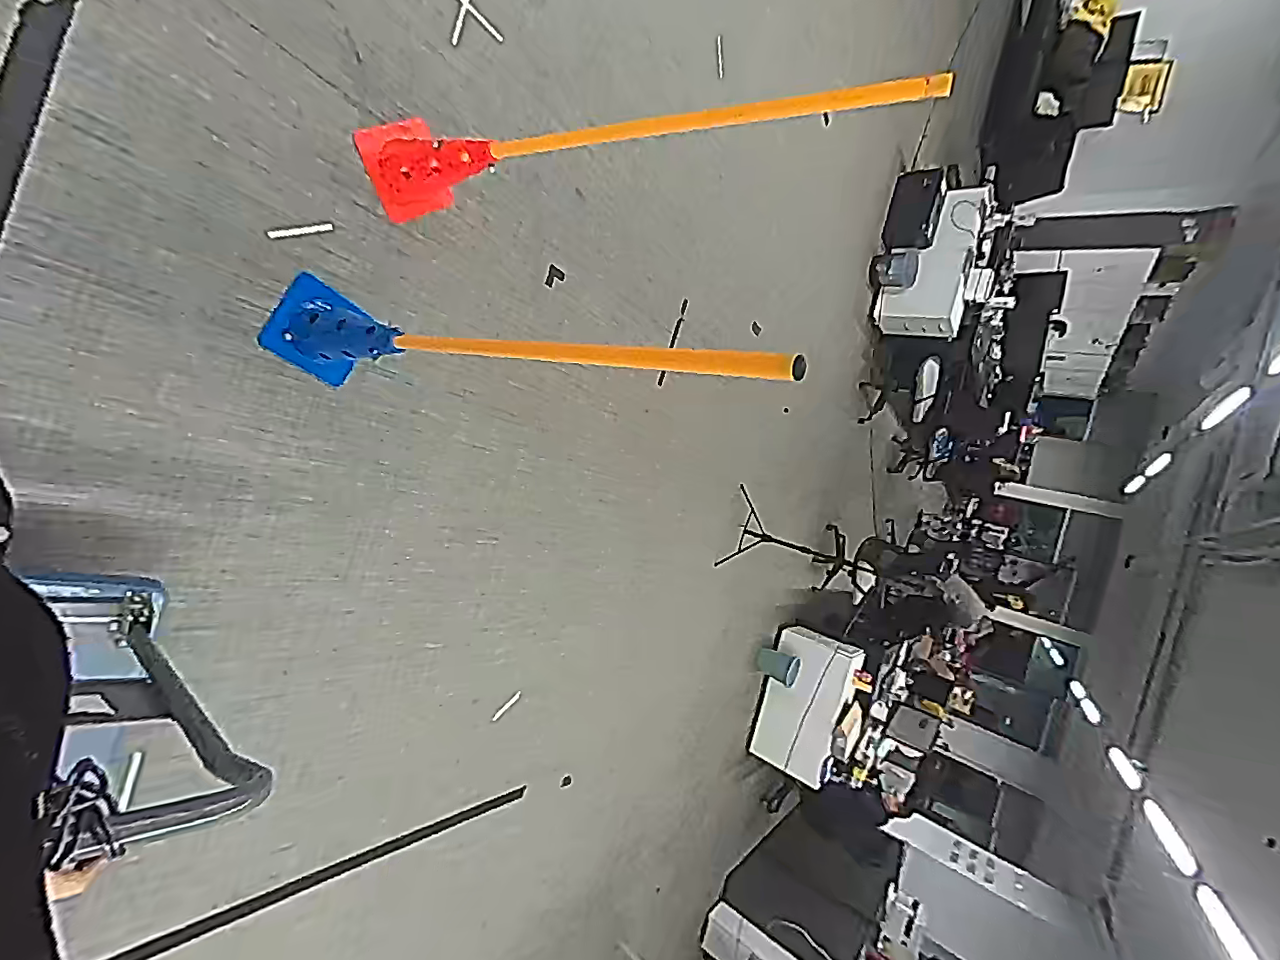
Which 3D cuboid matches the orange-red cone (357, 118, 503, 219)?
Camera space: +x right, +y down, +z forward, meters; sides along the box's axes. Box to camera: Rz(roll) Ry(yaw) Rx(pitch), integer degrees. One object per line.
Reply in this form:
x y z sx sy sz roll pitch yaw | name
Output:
-0.433 -0.722 1.216 0.199 0.360 0.198 -42 132 -35 | orange-red cone

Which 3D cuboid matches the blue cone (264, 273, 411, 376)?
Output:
-0.610 -0.320 1.153 0.193 0.380 0.192 42 68 -51 | blue cone
